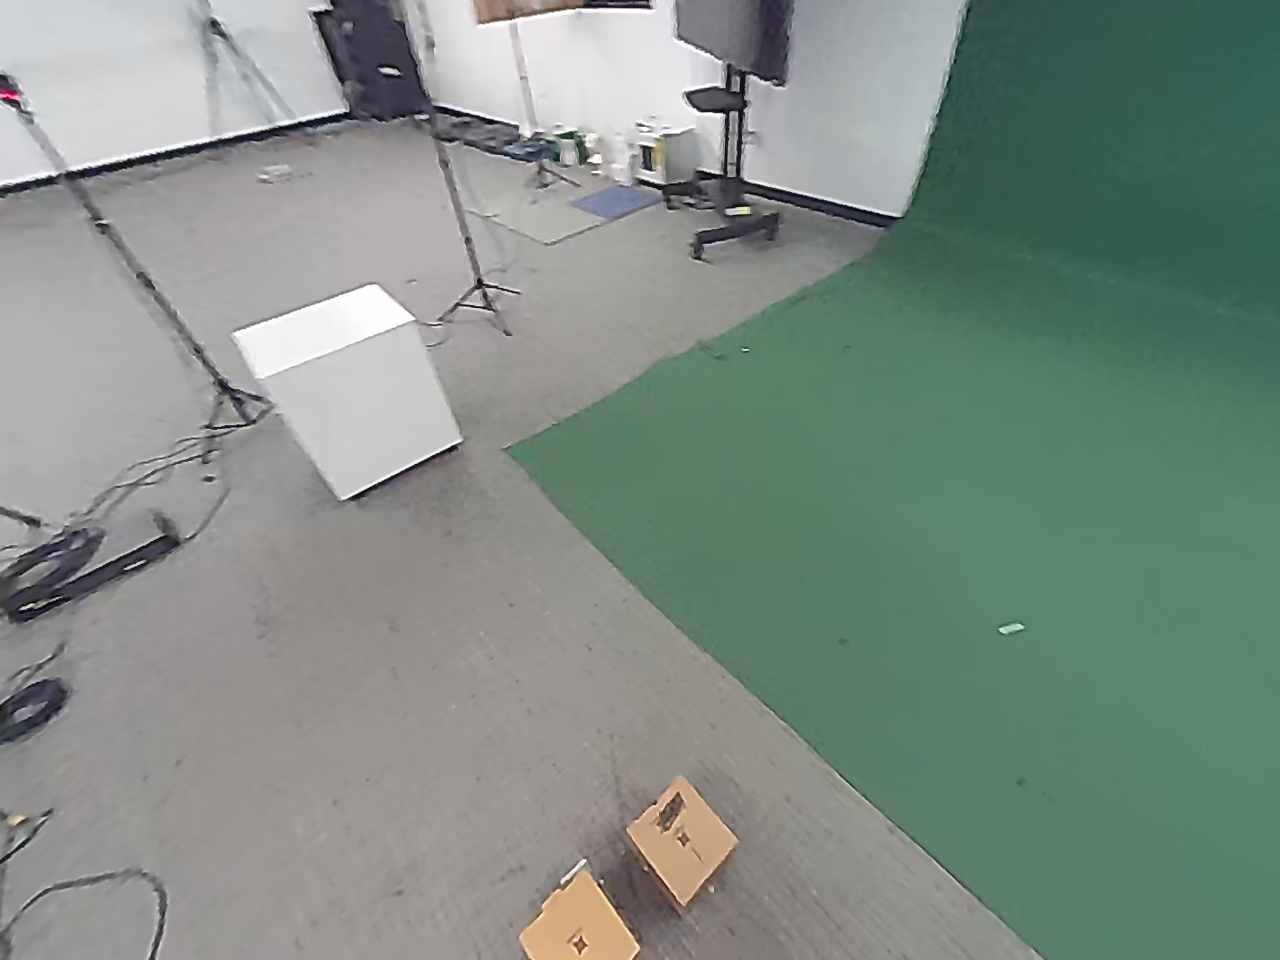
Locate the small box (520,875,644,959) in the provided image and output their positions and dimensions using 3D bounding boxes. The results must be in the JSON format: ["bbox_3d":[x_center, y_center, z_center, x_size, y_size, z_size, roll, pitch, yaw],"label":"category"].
[{"bbox_3d":[-0.106,0.933,1.065,0.168,0.176,0.179,-35,52,-27],"label":"small box"}]

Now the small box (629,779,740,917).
[{"bbox_3d":[0.094,0.804,1.178,0.168,0.176,0.179,-34,53,-27],"label":"small box"}]
